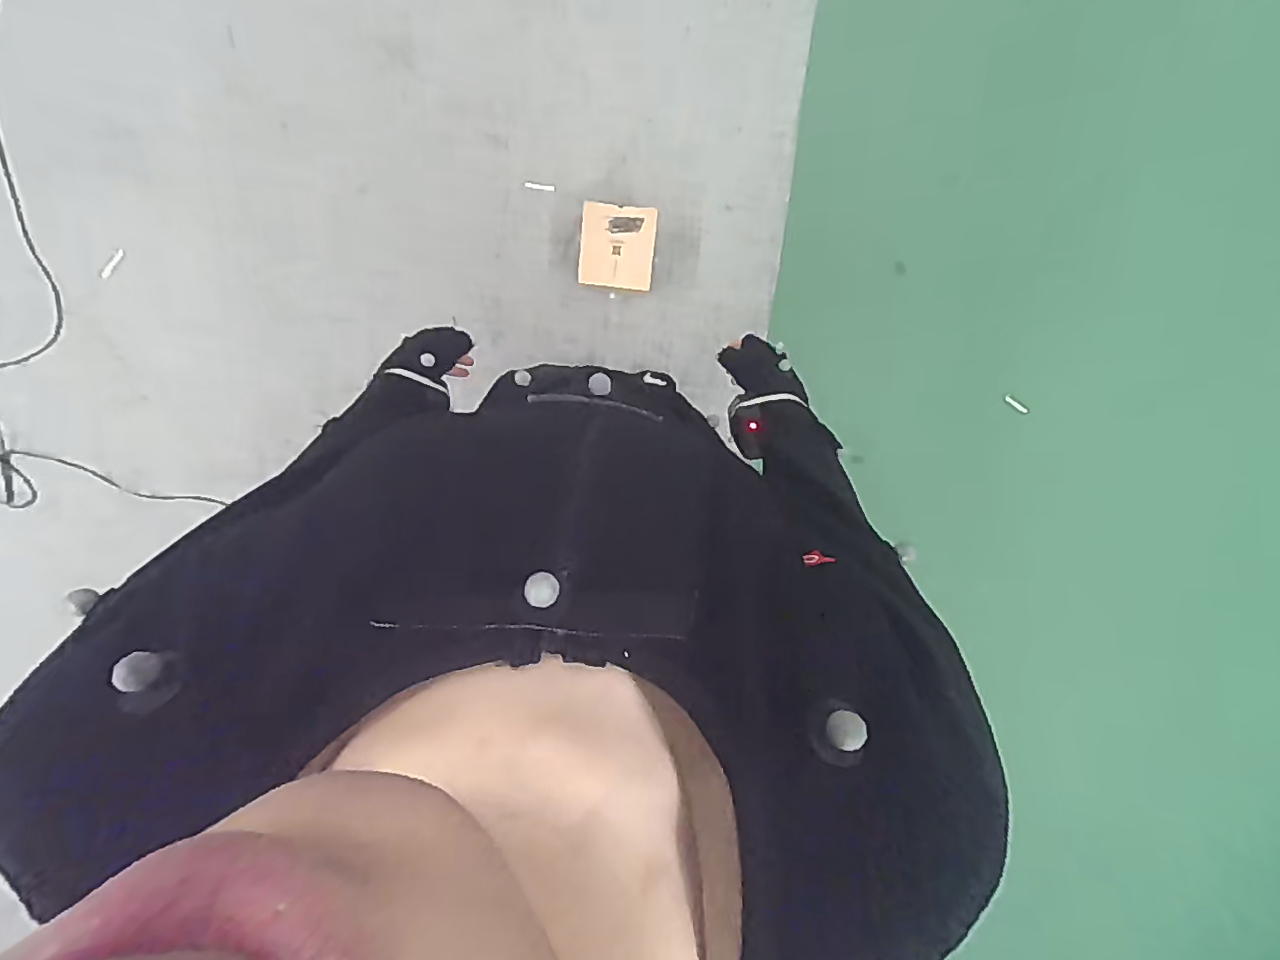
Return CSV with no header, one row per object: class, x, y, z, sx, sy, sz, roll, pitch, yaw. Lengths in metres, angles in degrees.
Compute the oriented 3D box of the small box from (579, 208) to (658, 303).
small box,-0.052,-0.524,1.281,0.168,0.176,0.179,5,104,-2
